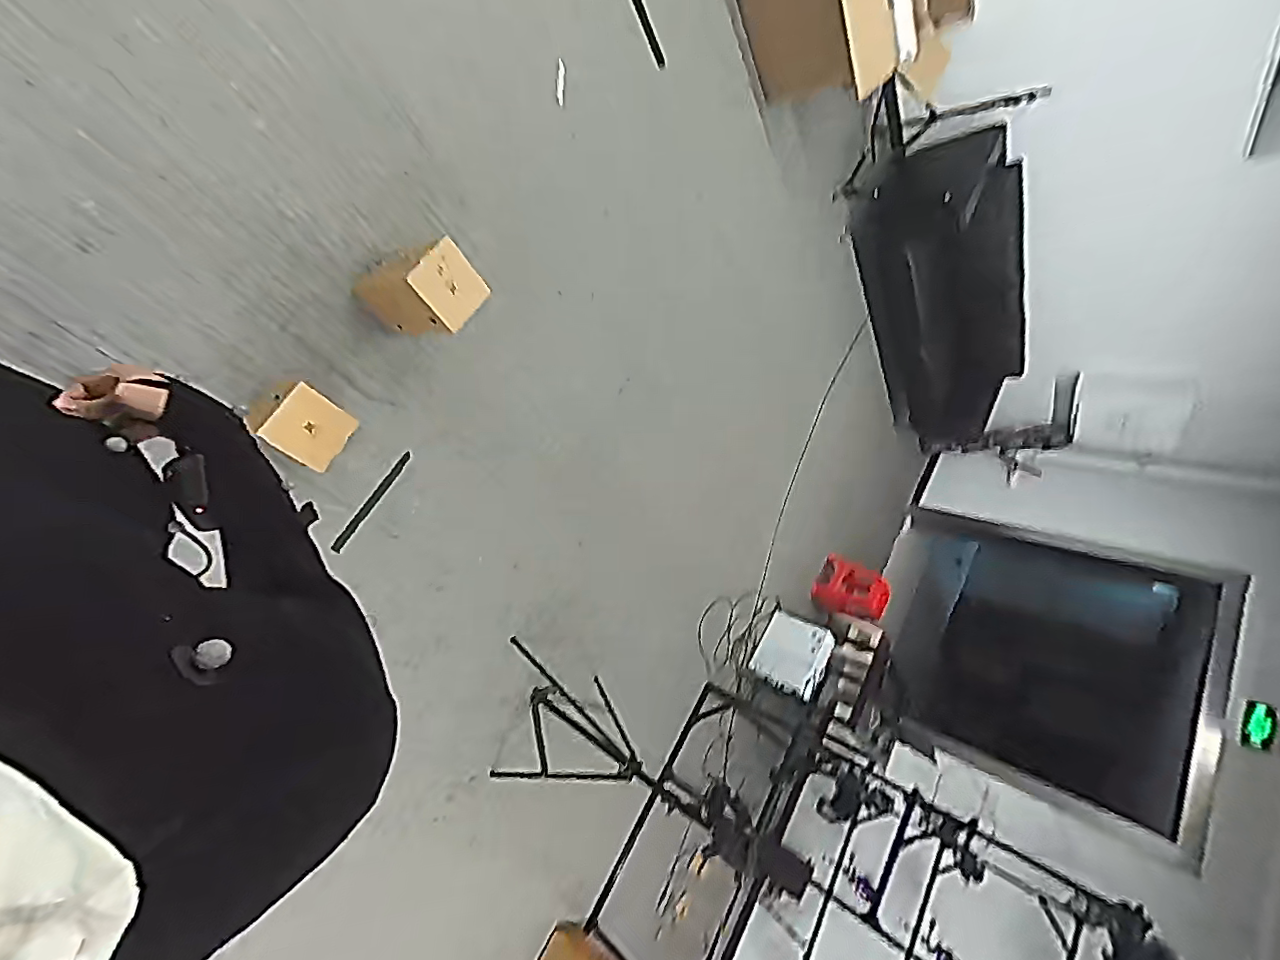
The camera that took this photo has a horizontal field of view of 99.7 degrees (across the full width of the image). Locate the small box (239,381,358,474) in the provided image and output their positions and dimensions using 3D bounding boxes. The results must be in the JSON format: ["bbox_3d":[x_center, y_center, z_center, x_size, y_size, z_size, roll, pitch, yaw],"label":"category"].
[{"bbox_3d":[-0.875,-0.139,1.382,0.179,0.176,0.168,47,65,-45],"label":"small box"}]

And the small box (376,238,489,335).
[{"bbox_3d":[-0.540,-0.500,1.407,0.168,0.176,0.179,-58,136,-22],"label":"small box"}]

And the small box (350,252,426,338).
[{"bbox_3d":[-0.663,-0.521,1.514,0.168,0.176,0.179,-57,136,-22],"label":"small box"}]
